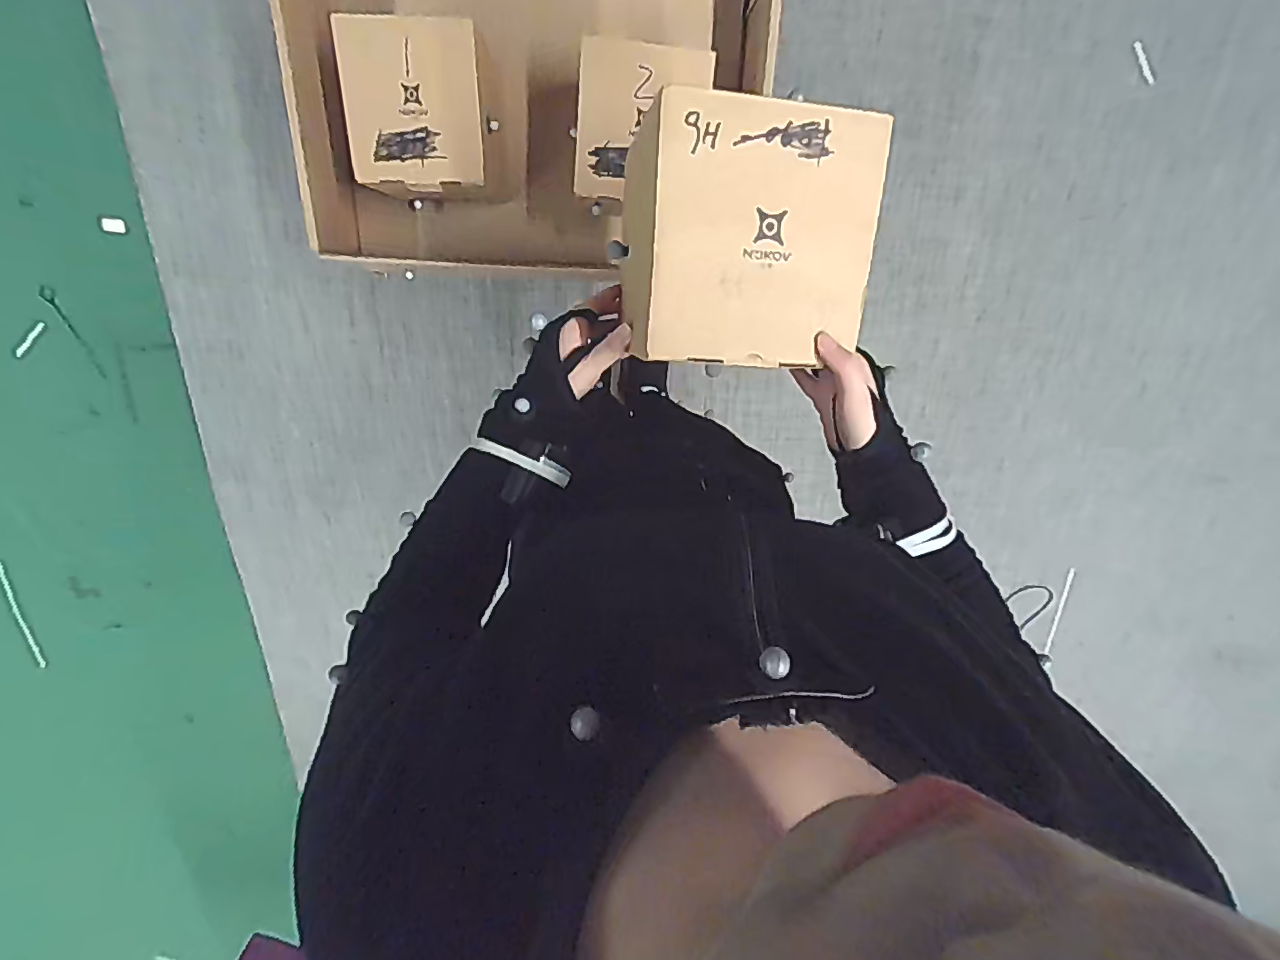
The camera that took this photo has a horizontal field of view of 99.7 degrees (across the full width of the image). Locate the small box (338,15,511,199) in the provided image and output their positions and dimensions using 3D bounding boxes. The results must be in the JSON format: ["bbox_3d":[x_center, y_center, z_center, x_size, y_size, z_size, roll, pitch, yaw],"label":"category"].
[{"bbox_3d":[-0.277,-0.492,0.741,0.168,0.176,0.179,0,110,-2],"label":"small box"}]

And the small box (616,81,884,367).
[{"bbox_3d":[0.071,-0.198,0.460,0.168,0.176,0.179,1,108,-9],"label":"small box"}]
